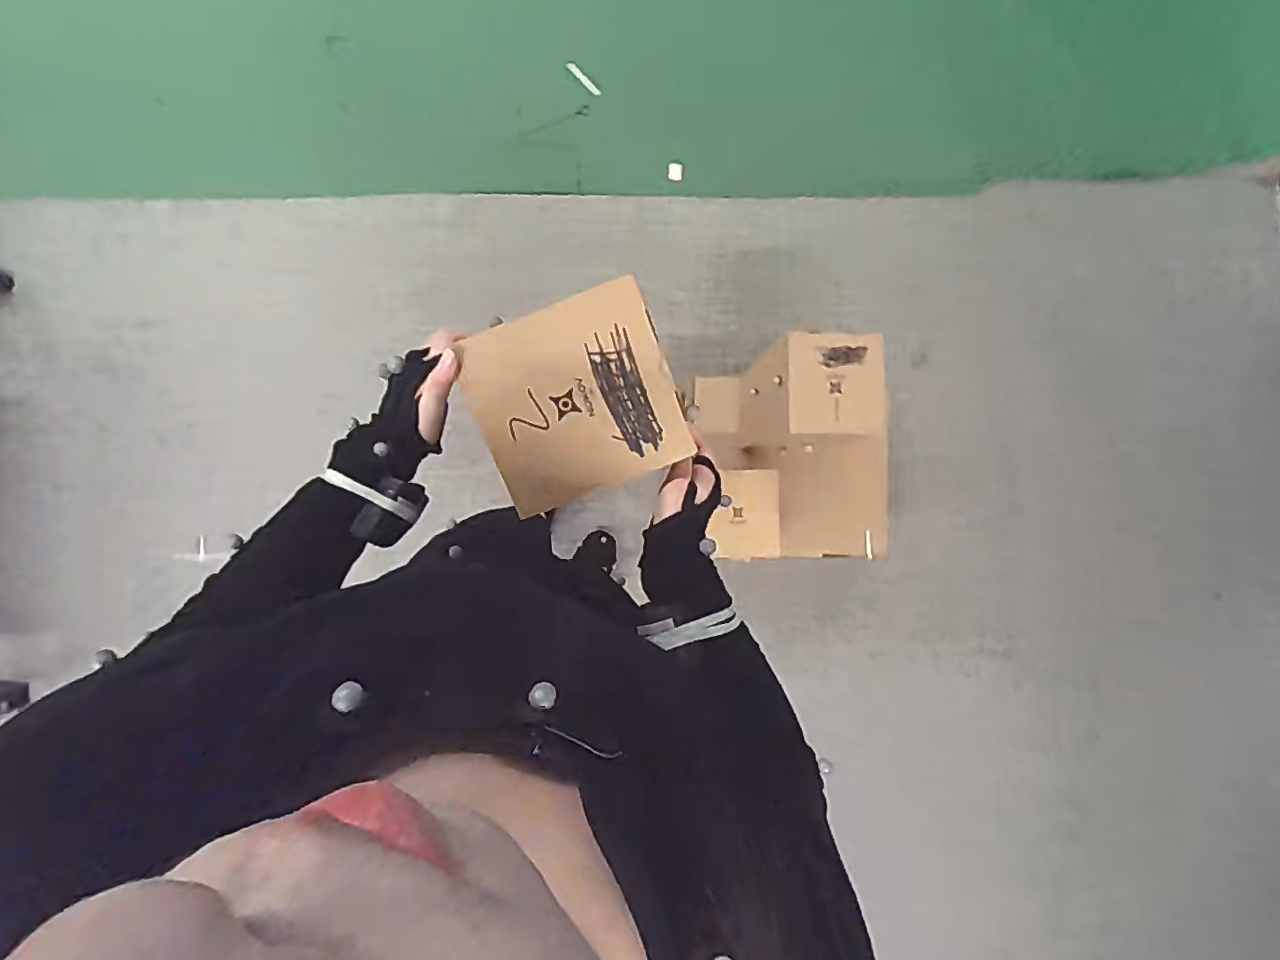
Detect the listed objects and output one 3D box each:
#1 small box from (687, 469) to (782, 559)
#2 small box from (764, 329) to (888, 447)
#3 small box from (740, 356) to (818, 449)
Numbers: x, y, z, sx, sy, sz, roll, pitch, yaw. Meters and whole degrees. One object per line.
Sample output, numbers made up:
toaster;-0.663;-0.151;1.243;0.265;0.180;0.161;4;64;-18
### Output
small box;0.192;0.067;1.132;0.168;0.176;0.179;-1;88;-4
small box;0.328;-0.159;0.983;0.168;0.176;0.179;1;87;-4
small box;0.322;-0.157;1.149;0.179;0.176;0.168;1;87;-4
